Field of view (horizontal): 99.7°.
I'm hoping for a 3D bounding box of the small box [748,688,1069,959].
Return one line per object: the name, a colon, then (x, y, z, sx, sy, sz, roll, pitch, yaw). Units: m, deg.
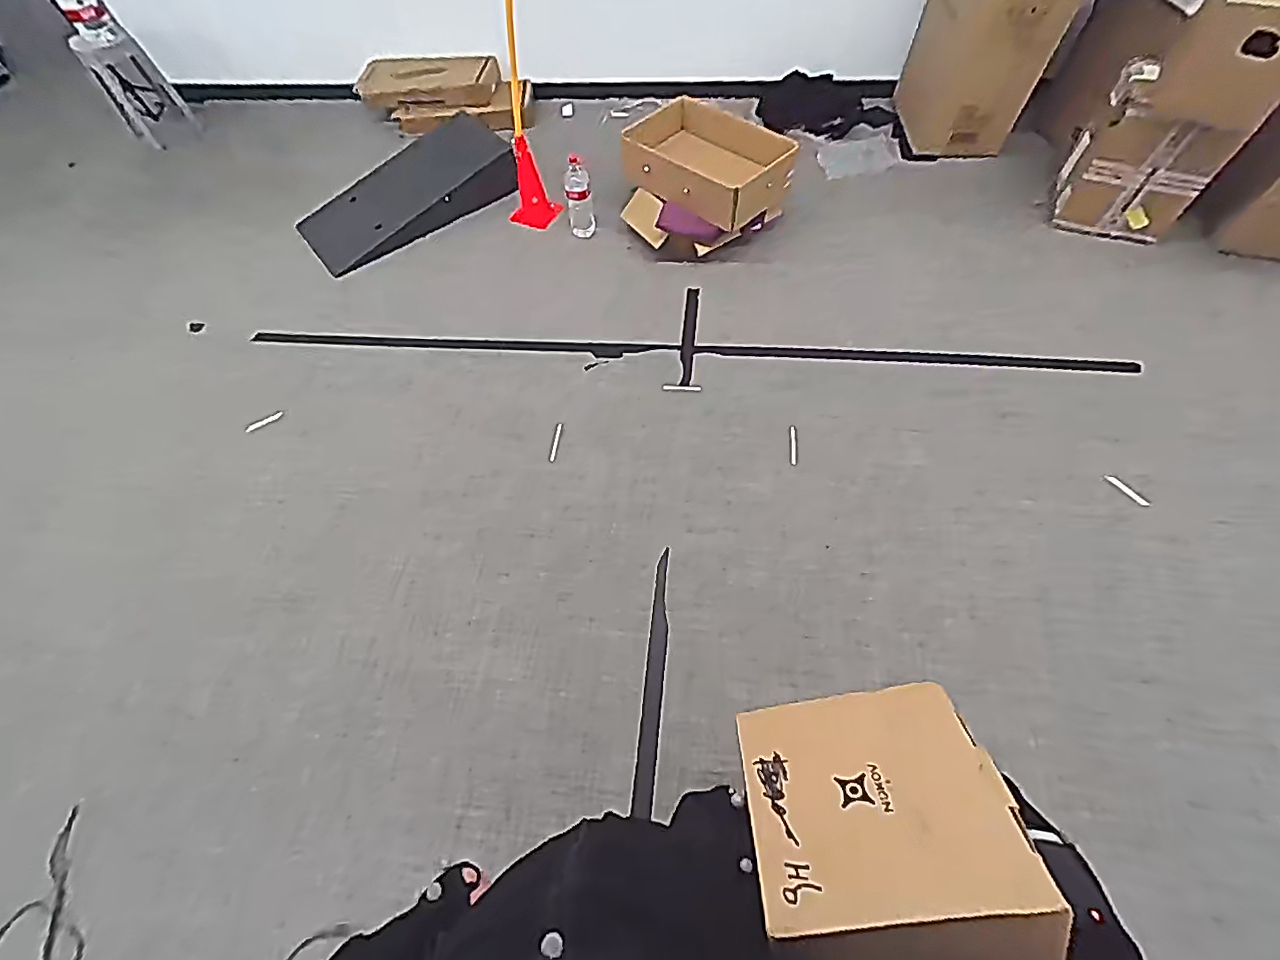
small box: (0.197, 0.303, 0.439, 0.179, 0.176, 0.168, -13, 26, 9)
